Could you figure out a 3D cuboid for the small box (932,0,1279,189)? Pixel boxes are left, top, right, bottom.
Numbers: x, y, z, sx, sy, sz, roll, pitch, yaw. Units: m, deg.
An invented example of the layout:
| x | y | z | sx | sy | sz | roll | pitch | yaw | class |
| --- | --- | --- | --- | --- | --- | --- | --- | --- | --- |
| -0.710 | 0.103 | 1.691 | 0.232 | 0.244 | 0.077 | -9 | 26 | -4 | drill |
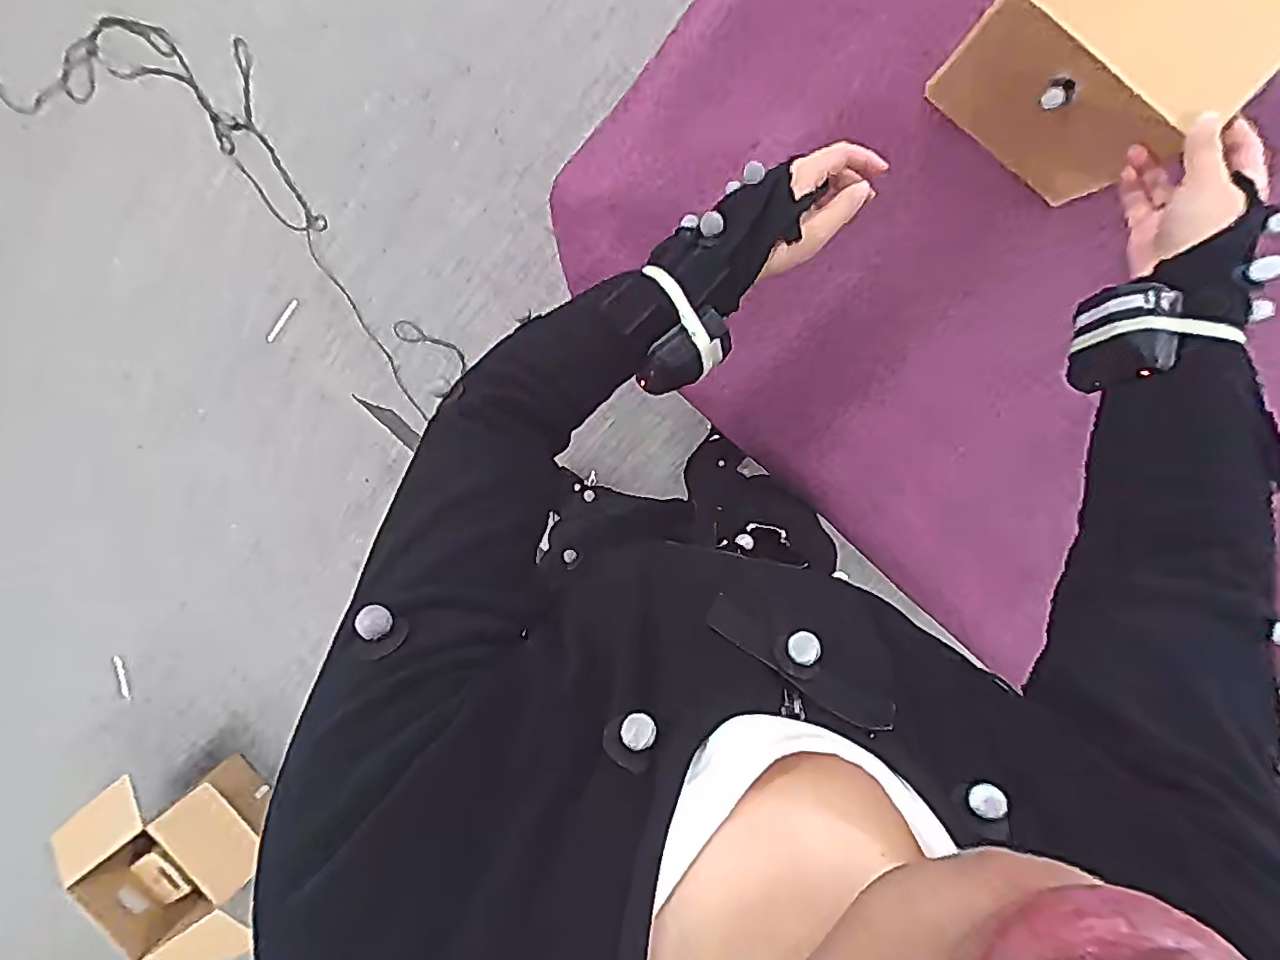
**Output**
| x | y | z | sx | sy | sz | roll | pitch | yaw | class |
| --- | --- | --- | --- | --- | --- | --- | --- | --- | --- |
| 0.385 | -0.367 | 0.435 | 0.179 | 0.176 | 0.168 | 39 | 105 | -3 | small box |
